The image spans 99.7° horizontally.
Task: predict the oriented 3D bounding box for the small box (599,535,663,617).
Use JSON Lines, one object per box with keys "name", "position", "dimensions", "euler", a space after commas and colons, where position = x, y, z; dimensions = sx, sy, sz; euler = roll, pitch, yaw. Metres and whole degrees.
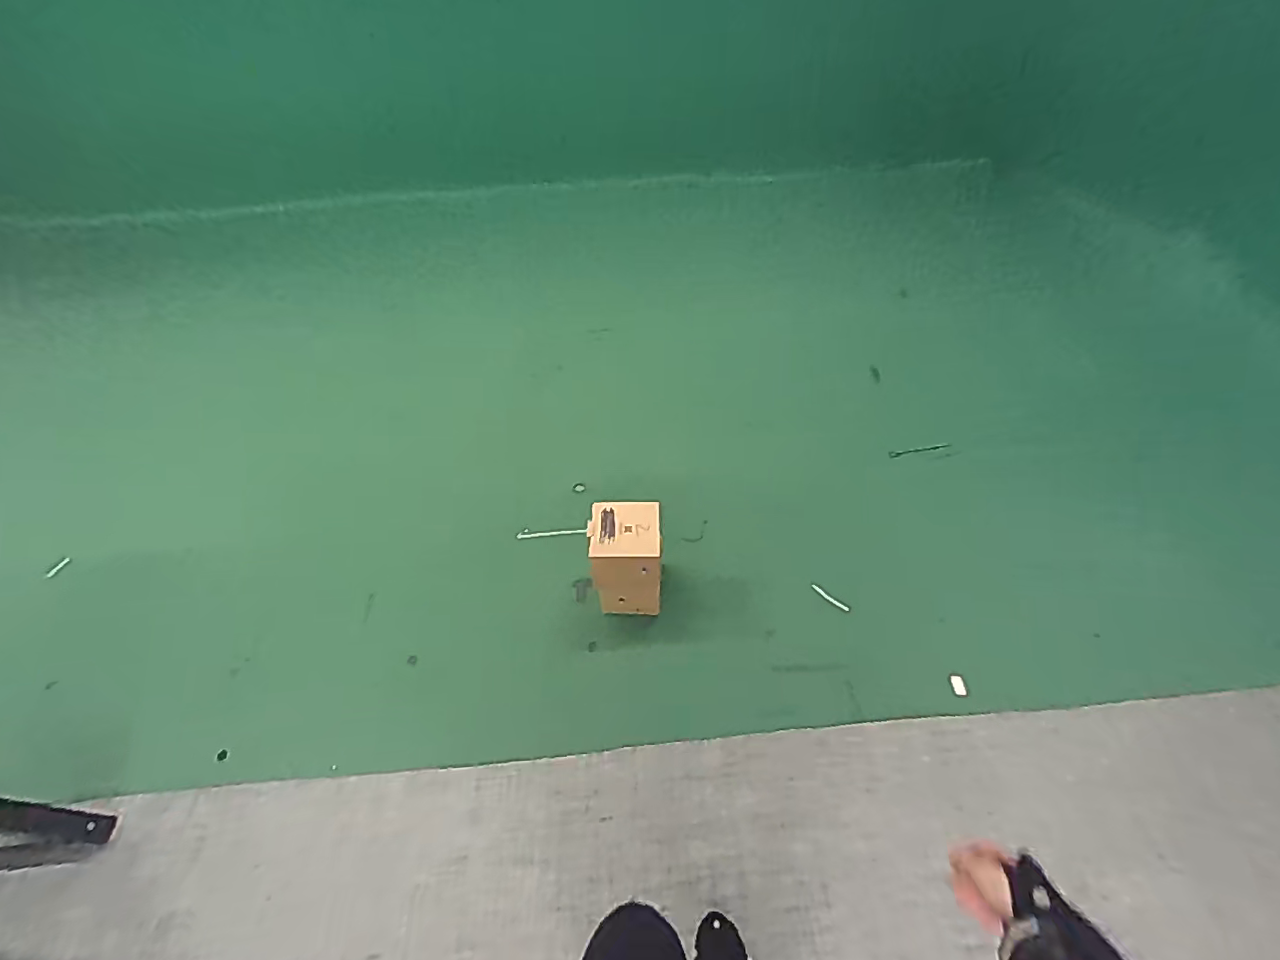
{"name": "small box", "position": [-0.019, 0.277, 1.543], "dimensions": [0.168, 0.176, 0.179], "euler": [2, 52, 3]}
